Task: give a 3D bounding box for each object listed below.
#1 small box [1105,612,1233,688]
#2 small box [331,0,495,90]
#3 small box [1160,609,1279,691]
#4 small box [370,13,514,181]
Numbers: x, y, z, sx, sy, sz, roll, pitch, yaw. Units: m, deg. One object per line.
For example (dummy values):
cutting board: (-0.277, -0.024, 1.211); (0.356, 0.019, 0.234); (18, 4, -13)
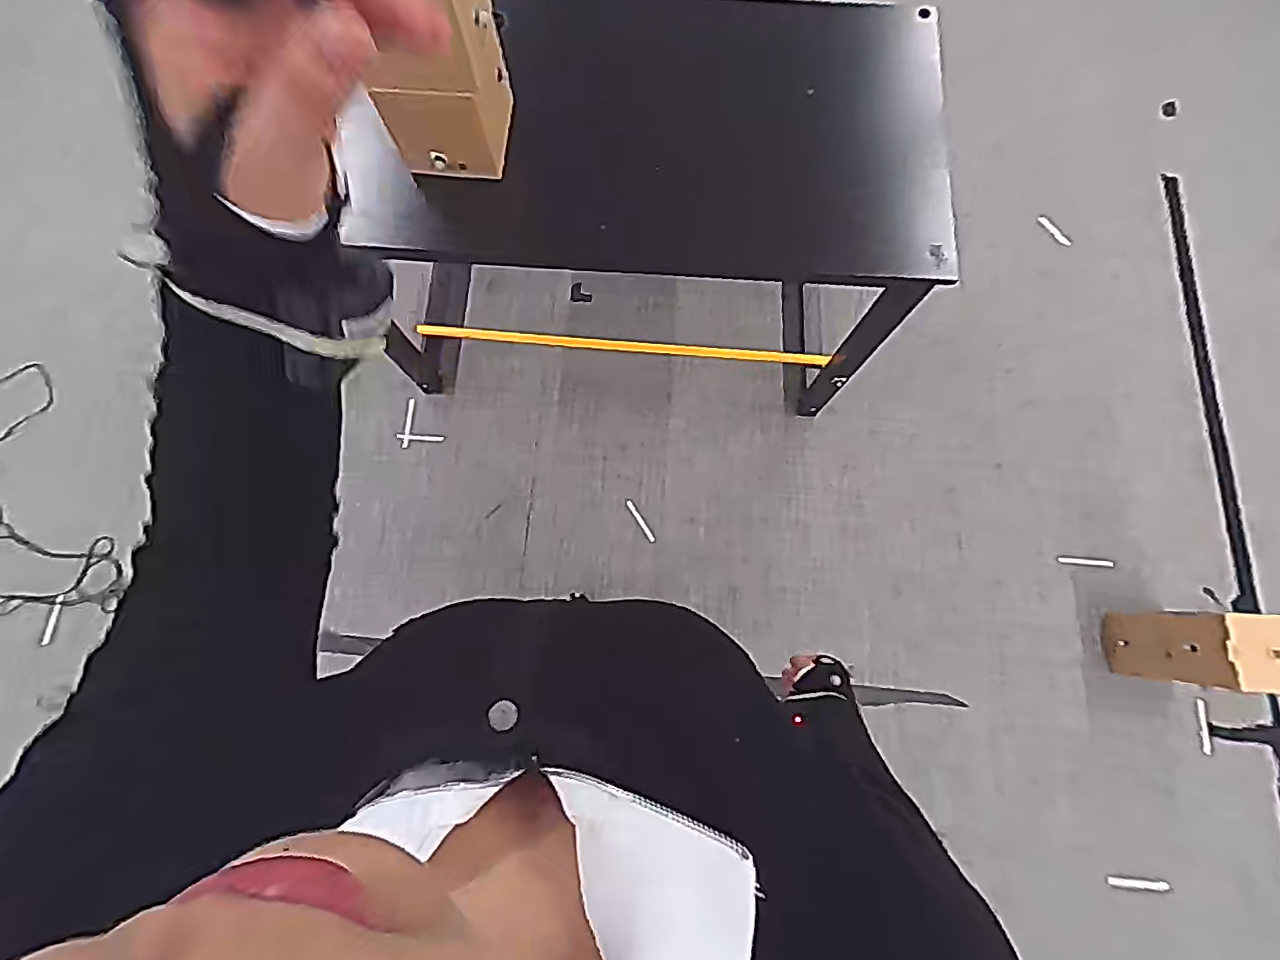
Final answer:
small box: (1.368, 0.434, 1.404); (0.179, 0.176, 0.168); (5, 77, 1)
small box: (-0.314, -0.675, 0.739); (0.179, 0.176, 0.168); (3, 77, 0)
small box: (1.358, 0.389, 1.247); (0.179, 0.176, 0.168); (3, 77, 1)
small box: (-0.315, -0.639, 0.900); (0.168, 0.176, 0.179); (4, 77, 1)
